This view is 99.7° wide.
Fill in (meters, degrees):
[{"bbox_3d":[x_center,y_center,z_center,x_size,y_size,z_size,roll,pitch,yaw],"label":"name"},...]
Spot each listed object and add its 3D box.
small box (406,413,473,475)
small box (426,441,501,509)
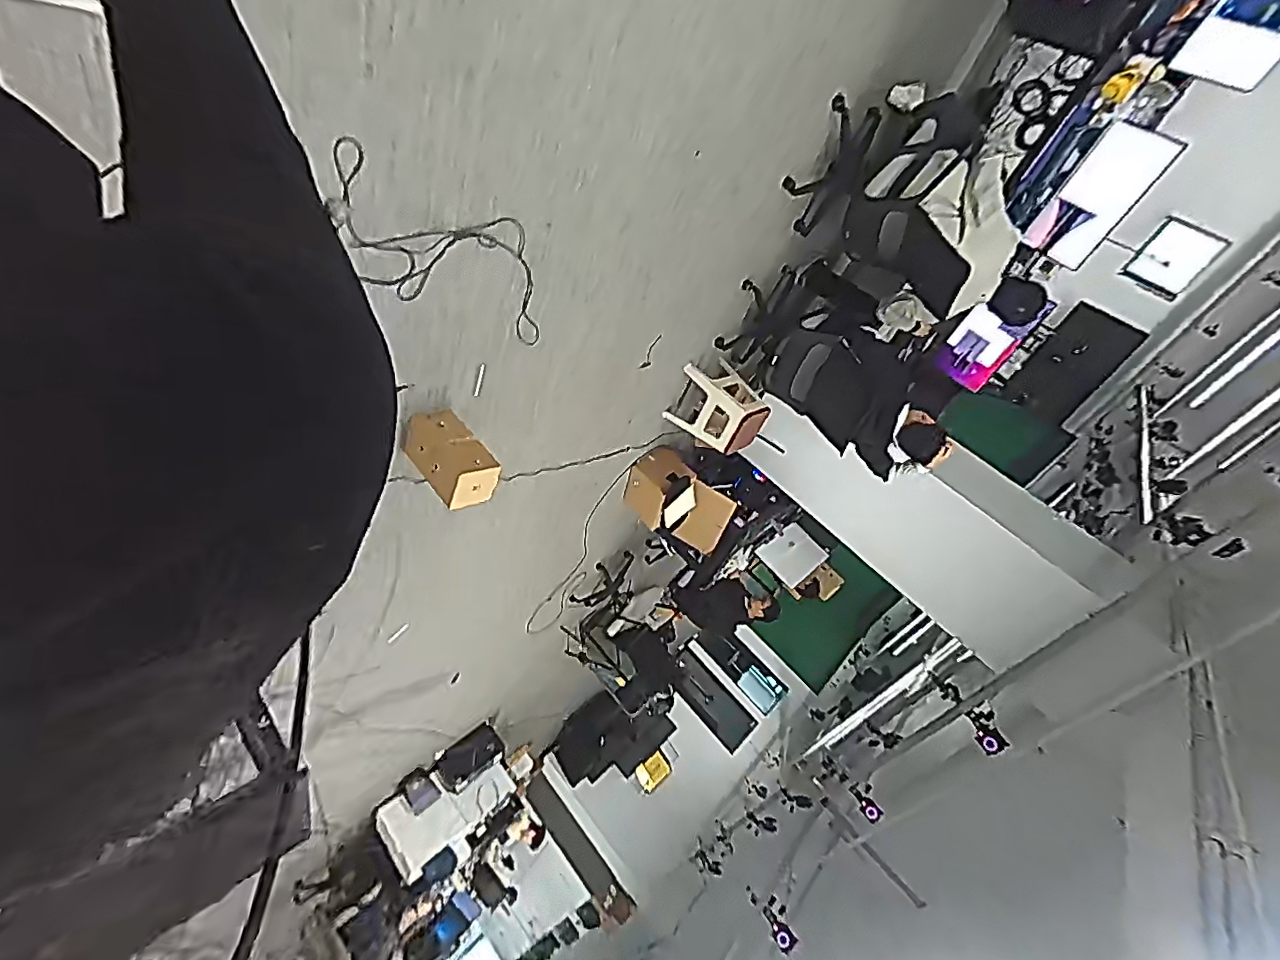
[{"bbox_3d":[-0.745,-0.132,2.000,0.168,0.176,0.179,-21,146,-46],"label":"small box"},{"bbox_3d":[-0.635,-0.026,1.942,0.179,0.176,0.168,-16,142,-49],"label":"small box"}]
